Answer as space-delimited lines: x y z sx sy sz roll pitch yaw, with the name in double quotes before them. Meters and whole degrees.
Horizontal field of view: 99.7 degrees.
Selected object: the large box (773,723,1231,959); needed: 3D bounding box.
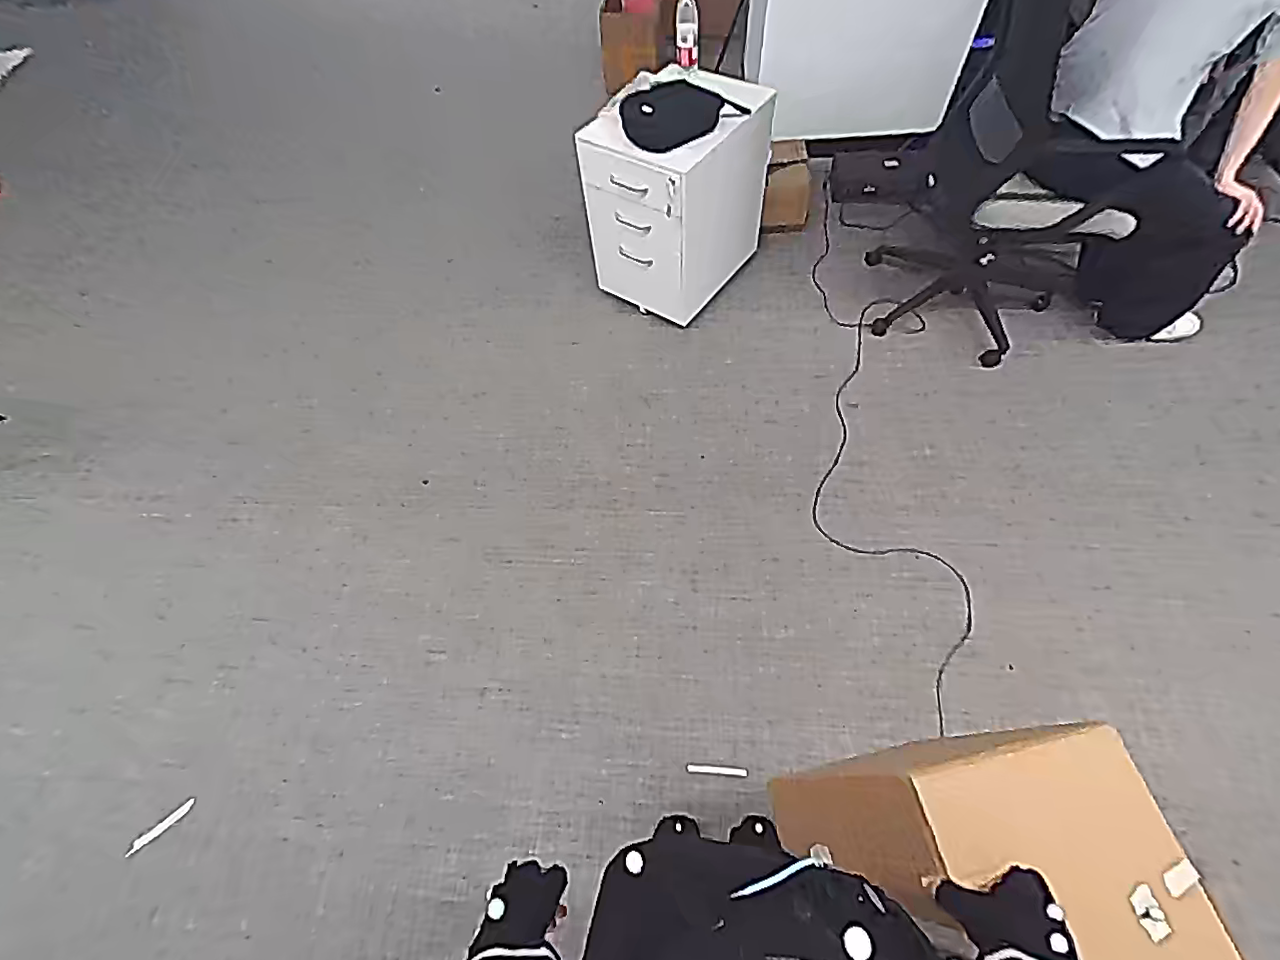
"large box" 0.444 0.555 0.753 0.320 0.408 0.320 -6 62 -14
